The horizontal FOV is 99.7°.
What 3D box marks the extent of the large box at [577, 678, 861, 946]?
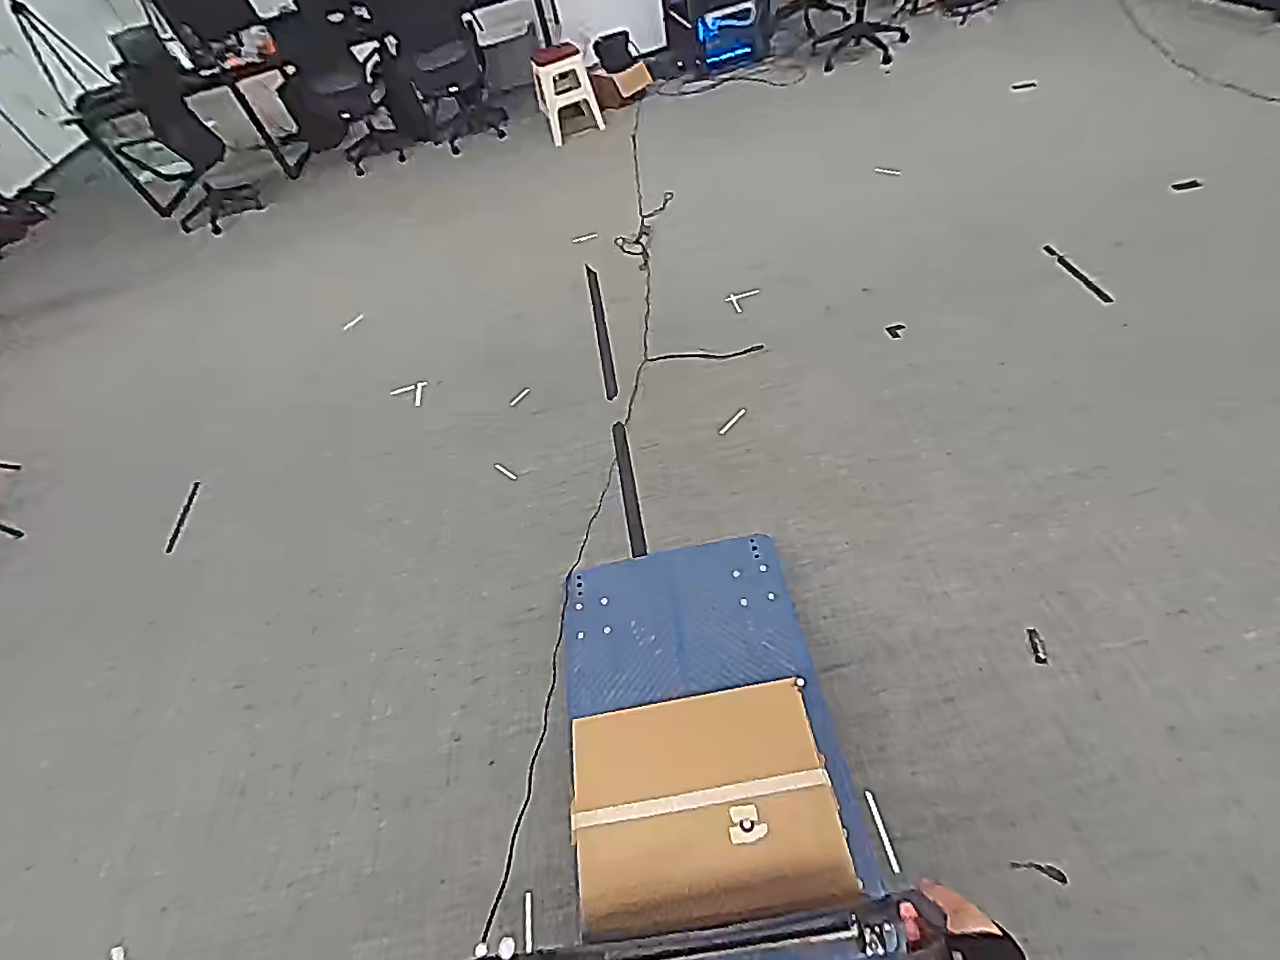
[{"bbox_3d":[0.126,0.600,0.978,0.408,0.320,0.320,-13,51,3],"label":"large box"}]
